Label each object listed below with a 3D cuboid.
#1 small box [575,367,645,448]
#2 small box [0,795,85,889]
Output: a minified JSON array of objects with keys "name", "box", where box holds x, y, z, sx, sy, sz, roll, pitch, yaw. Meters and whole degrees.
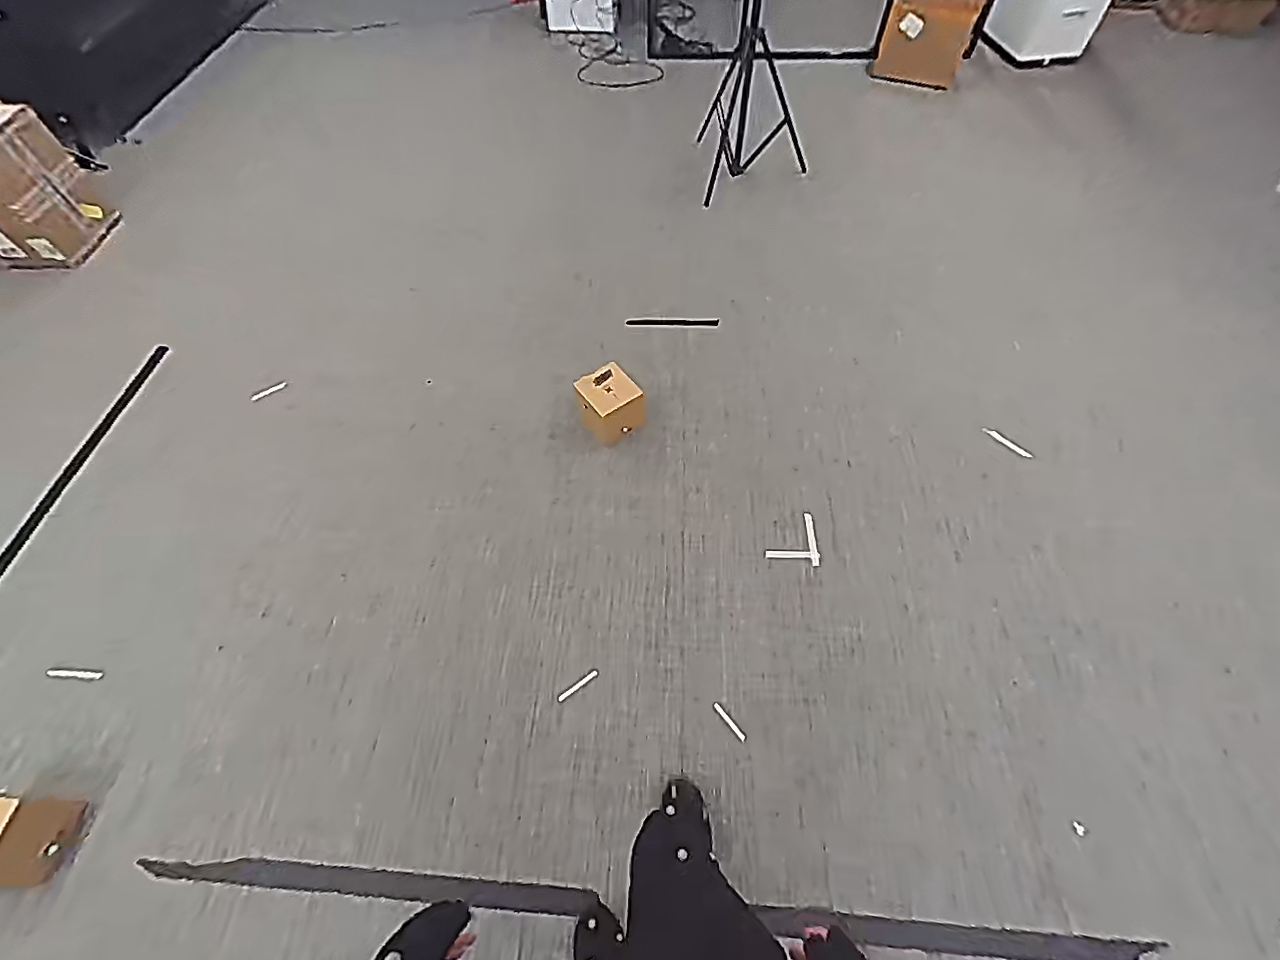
[{"name":"small box","box":[-0.099,-0.240,1.821,0.168,0.176,0.179,-32,63,-18]},{"name":"small box","box":[-1.405,0.786,1.179,0.179,0.176,0.168,3,58,2]}]
